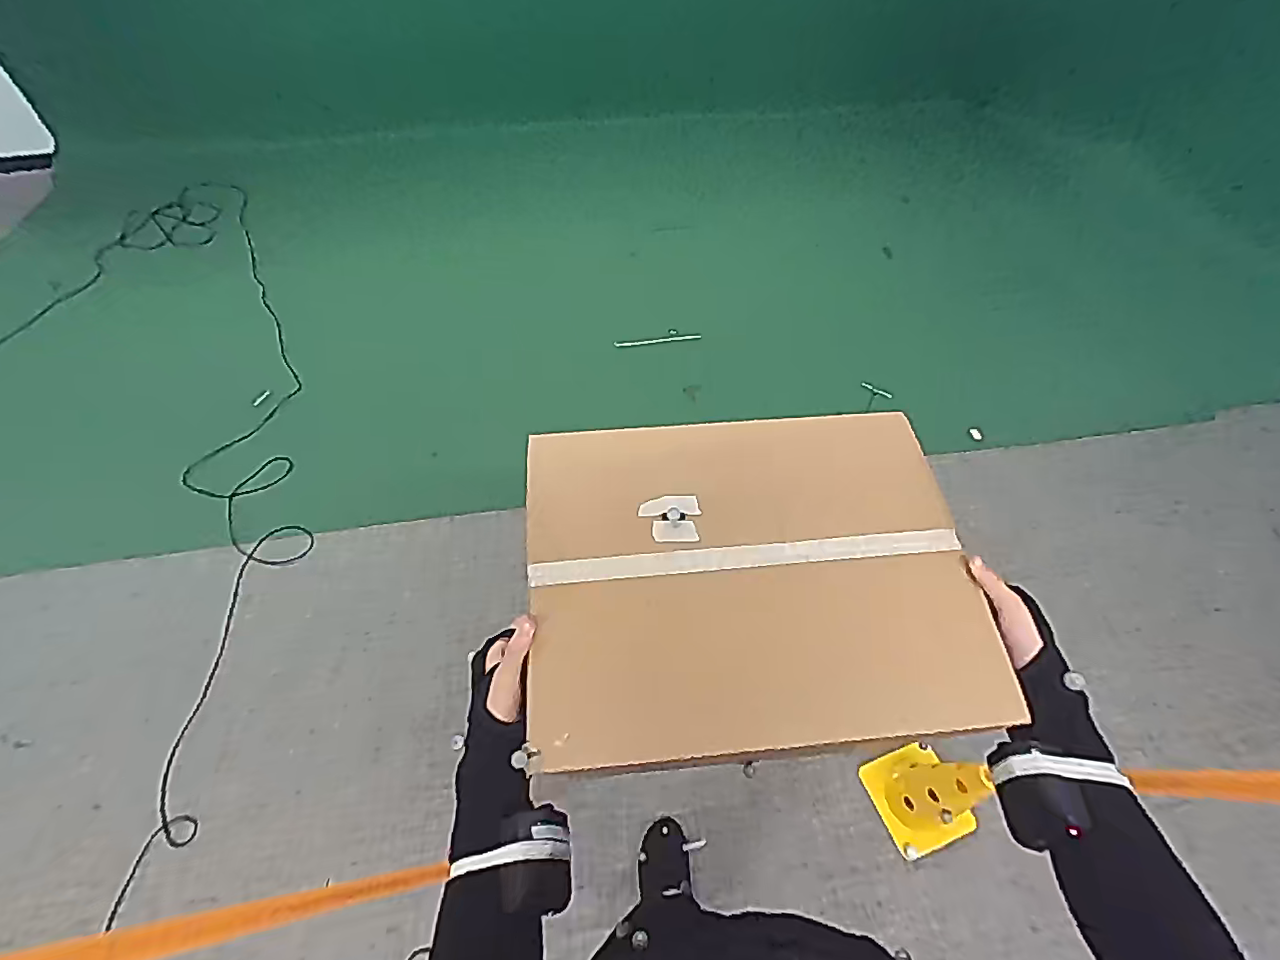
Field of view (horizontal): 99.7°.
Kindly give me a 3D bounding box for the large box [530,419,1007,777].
[{"bbox_3d":[0.098,0.155,0.641,0.408,0.320,0.320,-5,60,-3],"label":"large box"}]
